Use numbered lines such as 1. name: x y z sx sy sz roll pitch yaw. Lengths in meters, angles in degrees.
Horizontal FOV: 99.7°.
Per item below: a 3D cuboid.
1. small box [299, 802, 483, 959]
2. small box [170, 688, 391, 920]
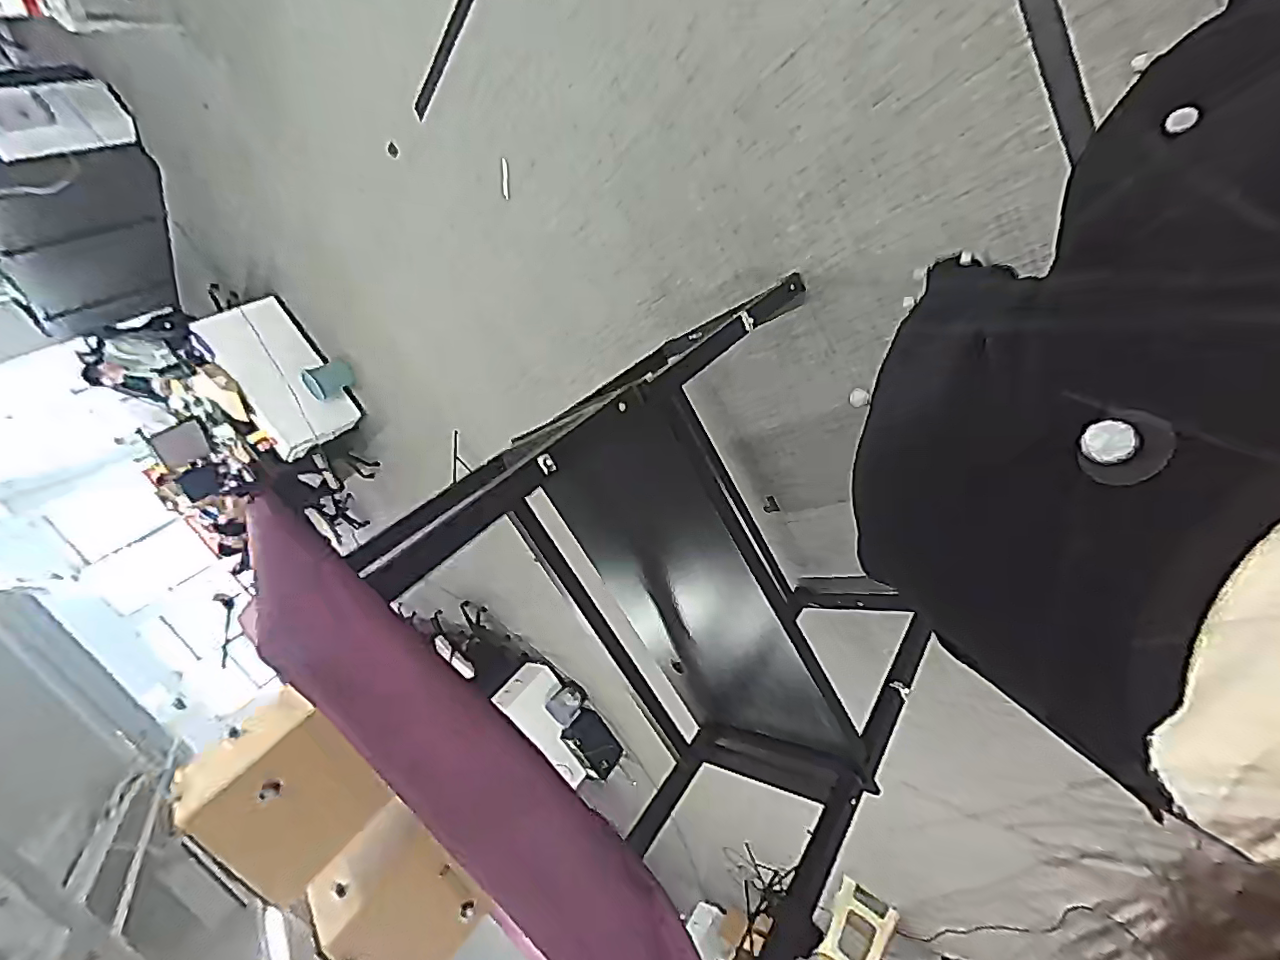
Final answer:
1. small box: -0.361 0.621 0.800 0.179 0.176 0.168 -11 114 51
2. small box: -0.473 0.411 0.719 0.168 0.176 0.179 -5 120 50
